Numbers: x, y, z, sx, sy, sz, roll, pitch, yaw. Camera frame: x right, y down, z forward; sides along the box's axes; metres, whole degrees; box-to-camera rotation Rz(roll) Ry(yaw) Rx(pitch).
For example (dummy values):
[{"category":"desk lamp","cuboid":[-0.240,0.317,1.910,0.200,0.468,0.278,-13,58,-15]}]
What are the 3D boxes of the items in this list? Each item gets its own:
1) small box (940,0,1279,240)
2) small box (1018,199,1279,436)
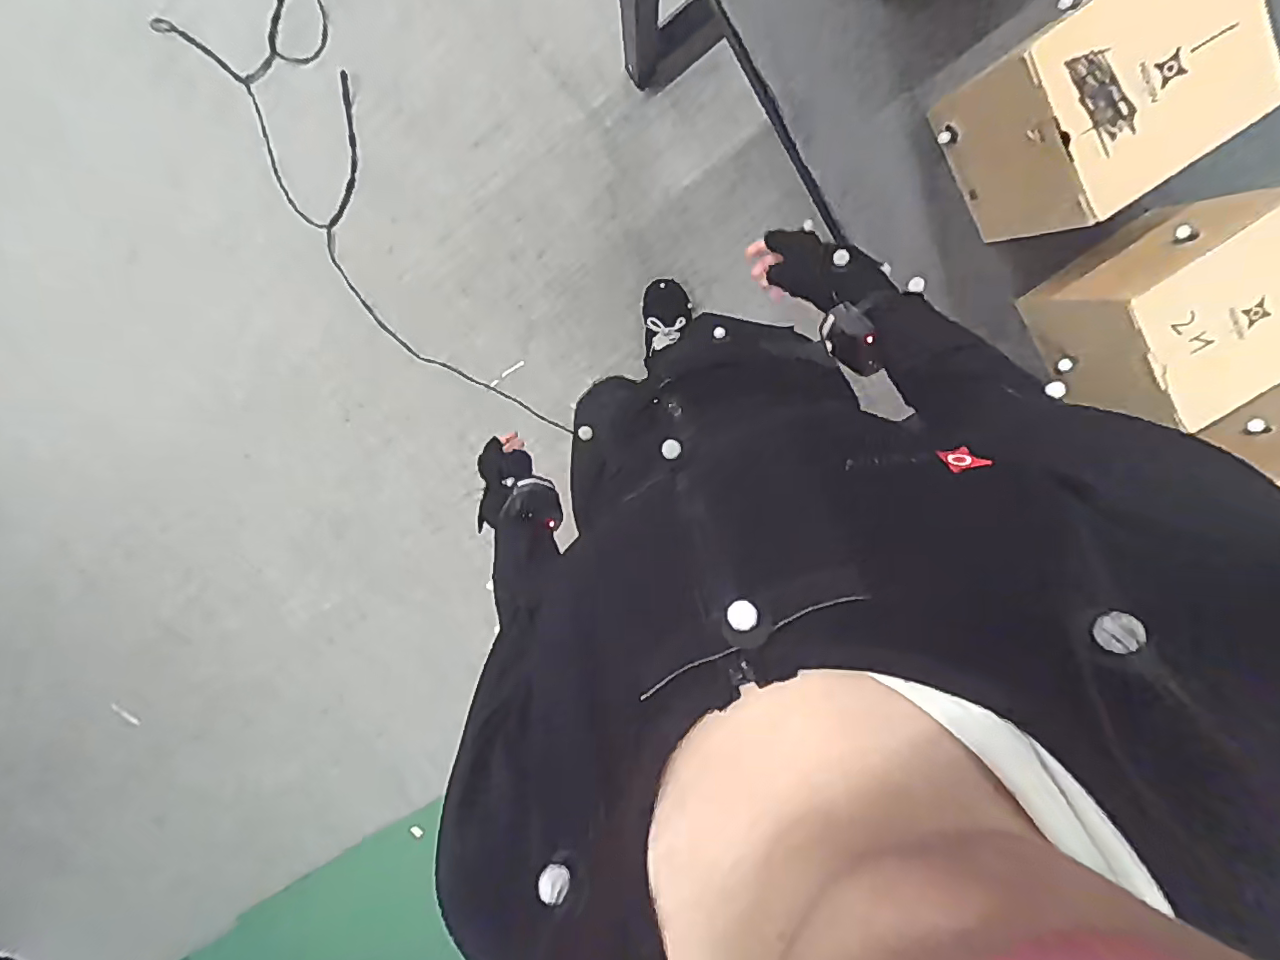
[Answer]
[{"category":"small box","cuboid":[0.435,-0.365,0.537,0.179,0.176,0.168,-34,105,9]},{"category":"small box","cuboid":[0.579,-0.179,0.598,0.179,0.176,0.168,-35,105,10]}]
